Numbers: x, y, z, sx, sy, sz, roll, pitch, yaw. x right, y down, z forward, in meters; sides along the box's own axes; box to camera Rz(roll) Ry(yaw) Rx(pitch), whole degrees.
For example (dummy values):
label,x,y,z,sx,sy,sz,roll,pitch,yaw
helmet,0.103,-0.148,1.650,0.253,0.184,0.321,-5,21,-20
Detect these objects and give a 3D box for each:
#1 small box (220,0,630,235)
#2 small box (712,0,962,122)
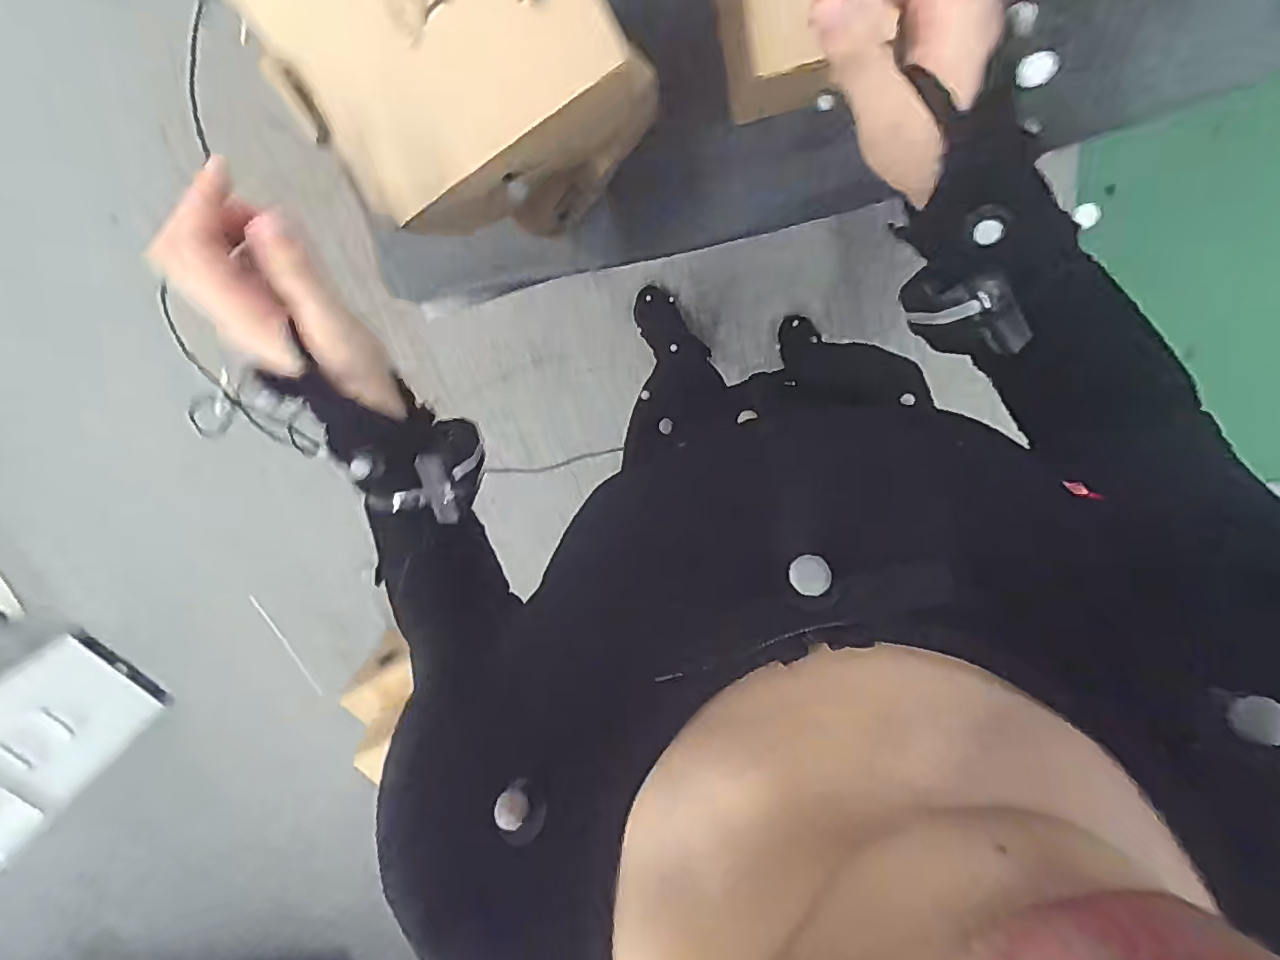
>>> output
label,x,y,z,sx,sy,sz,roll,pitch,yaw
small box,-0.123,-0.288,0.370,0.179,0.176,0.168,-28,109,15
small box,0.151,-0.444,0.465,0.168,0.176,0.179,-11,112,9
